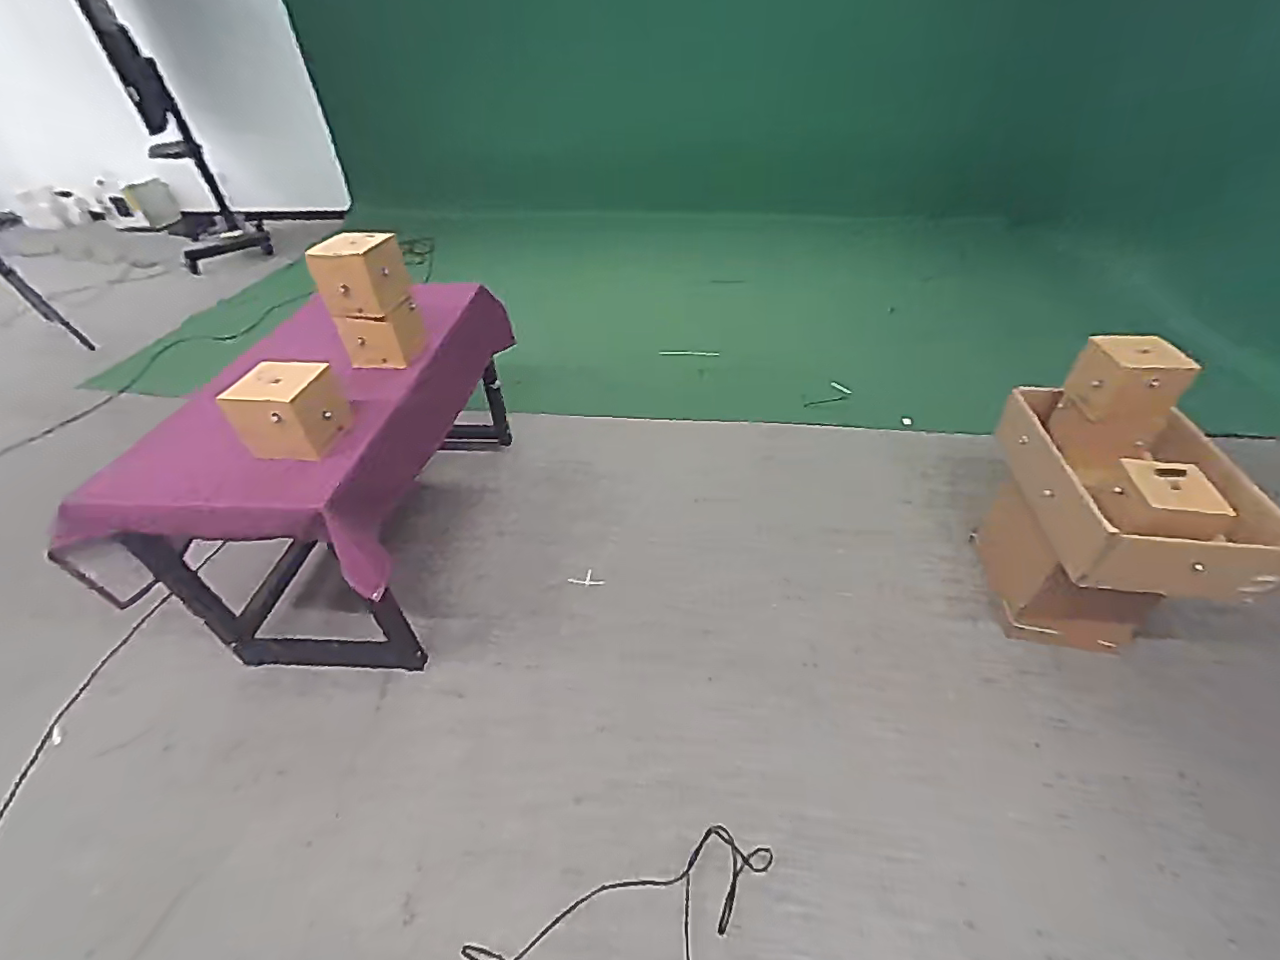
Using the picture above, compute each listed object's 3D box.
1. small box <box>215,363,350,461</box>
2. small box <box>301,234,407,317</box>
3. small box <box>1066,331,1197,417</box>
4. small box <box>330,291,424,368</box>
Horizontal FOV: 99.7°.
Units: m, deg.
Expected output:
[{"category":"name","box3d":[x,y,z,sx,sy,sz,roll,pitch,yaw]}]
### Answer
[{"category":"small box","box3d":[-0.829,-0.159,1.278,0.179,0.176,0.168,2,41,6]},{"category":"small box","box3d":[-0.768,-0.559,1.479,0.168,0.176,0.179,5,43,9]},{"category":"small box","box3d":[1.281,-0.279,1.432,0.179,0.176,0.168,2,43,4]},{"category":"small box","box3d":[-0.764,-0.441,1.593,0.168,0.176,0.179,1,41,5]}]
